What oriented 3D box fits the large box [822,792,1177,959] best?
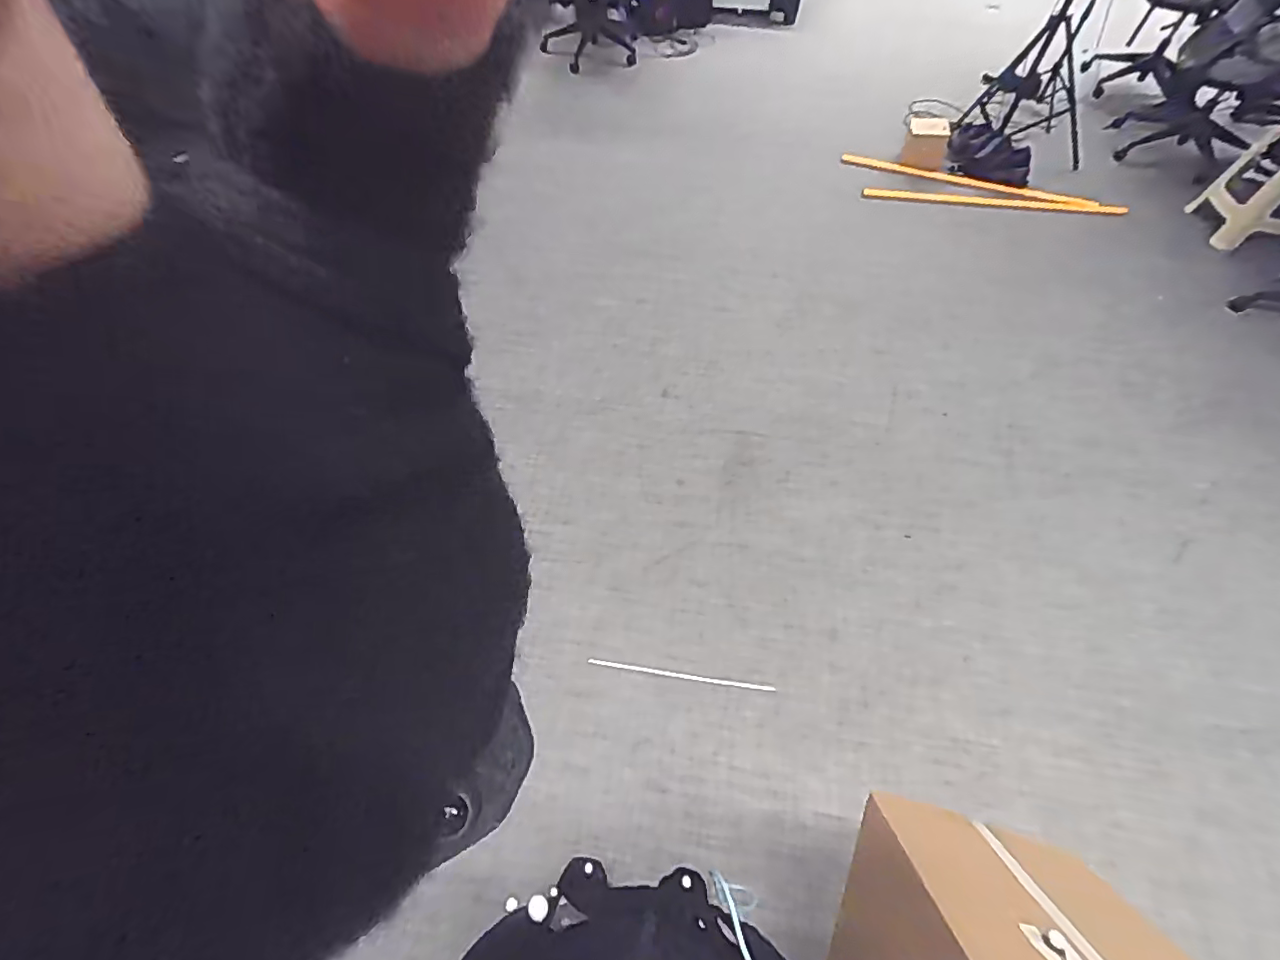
[{"bbox_3d":[0.436,0.658,0.621,0.320,0.408,0.320,15,90,7],"label":"large box"}]
